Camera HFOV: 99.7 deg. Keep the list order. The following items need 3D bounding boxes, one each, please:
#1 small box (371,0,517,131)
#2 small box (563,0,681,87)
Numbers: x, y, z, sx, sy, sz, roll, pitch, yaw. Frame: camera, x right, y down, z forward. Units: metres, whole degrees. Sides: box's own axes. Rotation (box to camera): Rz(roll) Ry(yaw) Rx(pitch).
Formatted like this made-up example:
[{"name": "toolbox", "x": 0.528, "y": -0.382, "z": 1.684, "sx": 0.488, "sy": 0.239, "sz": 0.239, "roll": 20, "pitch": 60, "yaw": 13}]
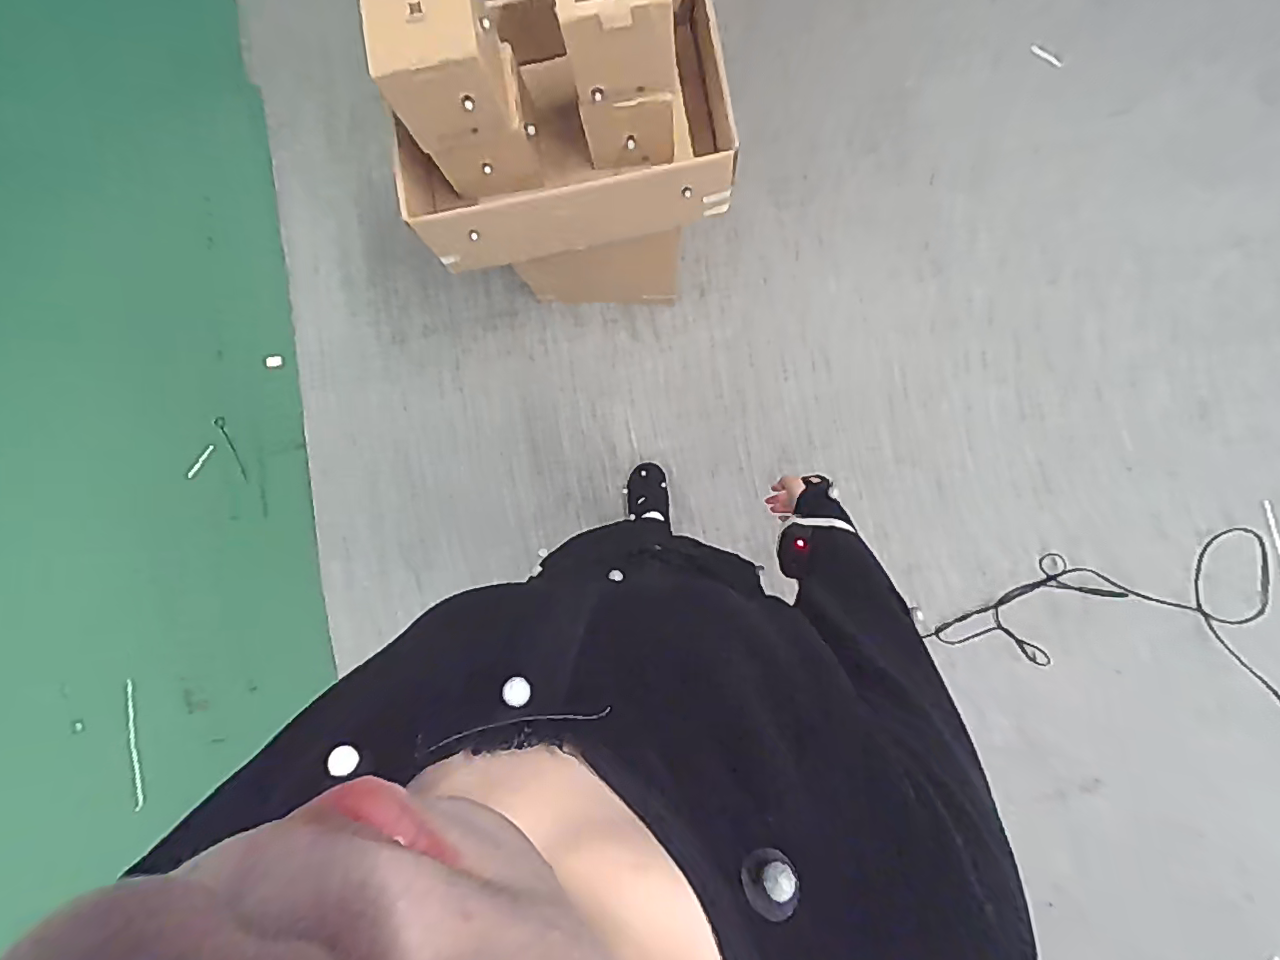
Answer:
[{"name": "small box", "x": -0.308, "y": -0.701, "z": 0.873, "sx": 0.168, "sy": 0.176, "sz": 0.179, "roll": -8, "pitch": 85, "yaw": 5}, {"name": "small box", "x": -0.027, "y": -0.757, "z": 0.847, "sx": 0.168, "sy": 0.176, "sz": 0.179, "roll": -6, "pitch": 85, "yaw": 6}]
